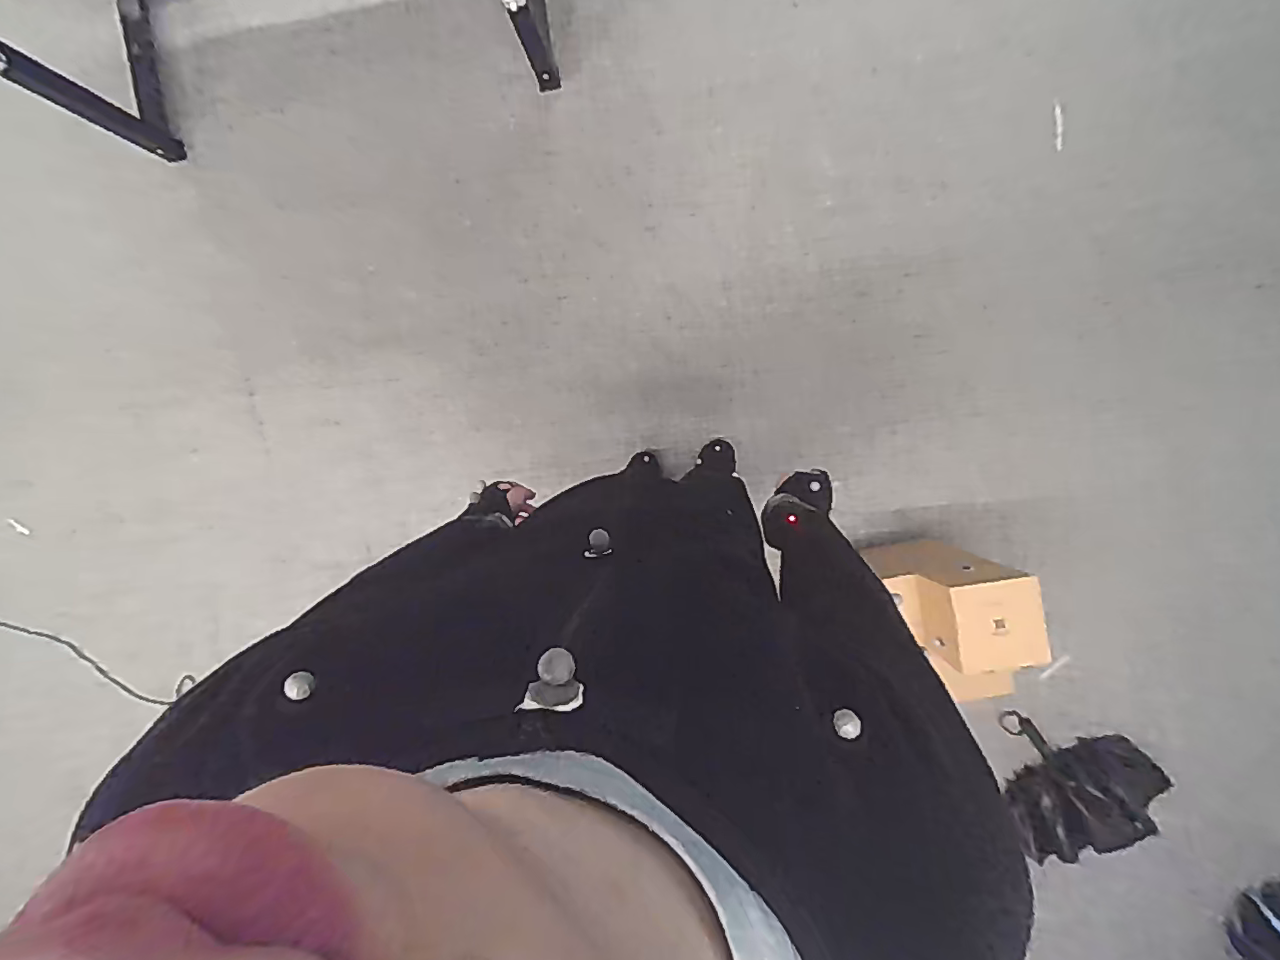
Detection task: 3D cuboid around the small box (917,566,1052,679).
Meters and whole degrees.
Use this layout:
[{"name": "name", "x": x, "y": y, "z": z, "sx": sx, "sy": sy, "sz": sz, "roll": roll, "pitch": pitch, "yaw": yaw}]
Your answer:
[{"name": "small box", "x": 0.700, "y": 0.286, "z": 1.117, "sx": 0.168, "sy": 0.176, "sz": 0.179, "roll": -10, "pitch": 89, "yaw": 5}]
